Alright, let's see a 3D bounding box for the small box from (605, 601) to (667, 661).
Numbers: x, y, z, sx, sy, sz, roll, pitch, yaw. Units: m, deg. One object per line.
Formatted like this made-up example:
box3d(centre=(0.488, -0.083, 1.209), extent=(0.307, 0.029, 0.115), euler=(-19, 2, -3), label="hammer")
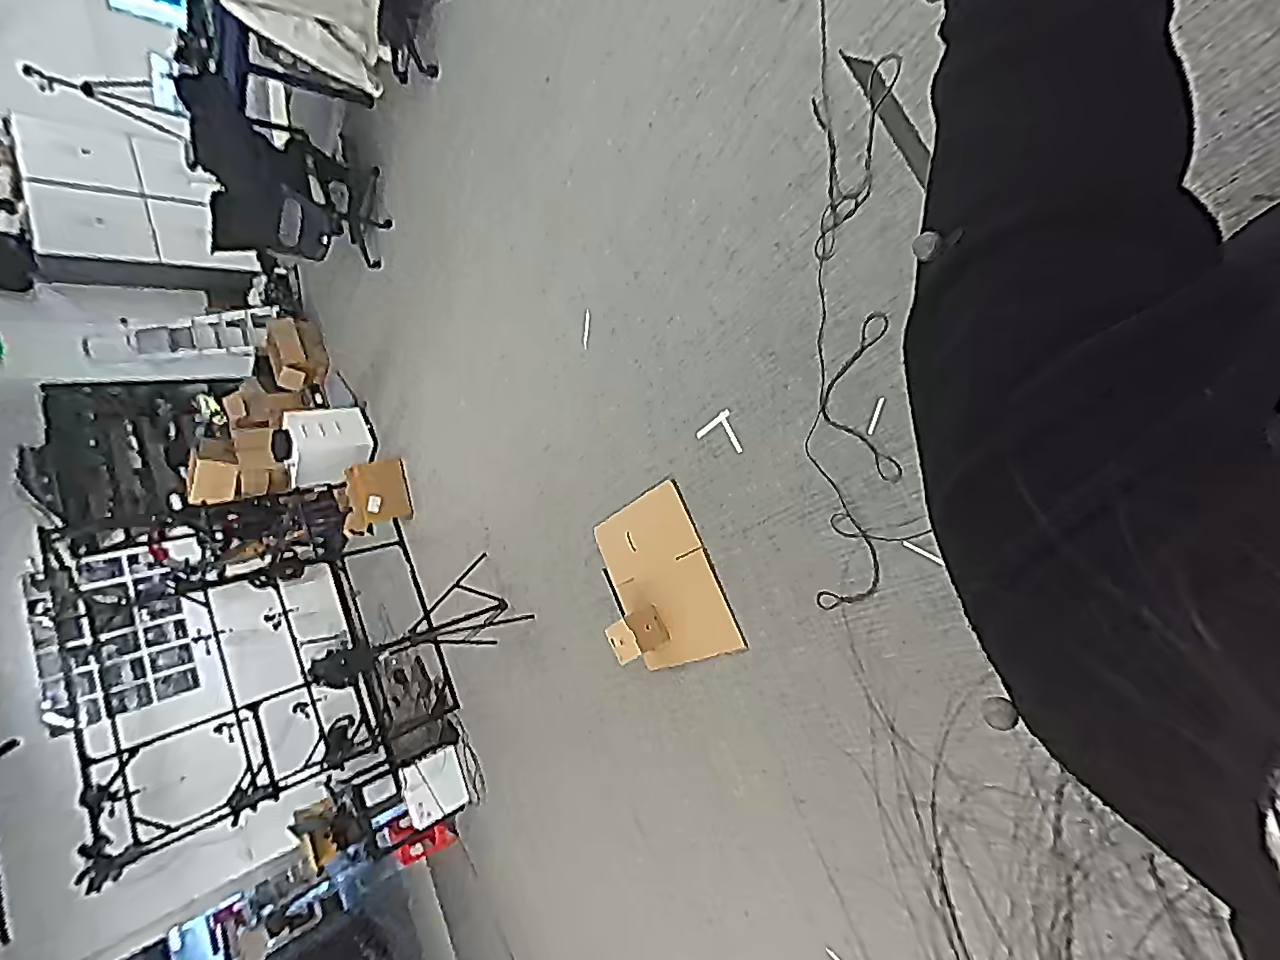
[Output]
box3d(centre=(-0.010, 0.637, 2.292), extent=(0.179, 0.176, 0.168), euler=(-44, 68, 43), label="small box")
